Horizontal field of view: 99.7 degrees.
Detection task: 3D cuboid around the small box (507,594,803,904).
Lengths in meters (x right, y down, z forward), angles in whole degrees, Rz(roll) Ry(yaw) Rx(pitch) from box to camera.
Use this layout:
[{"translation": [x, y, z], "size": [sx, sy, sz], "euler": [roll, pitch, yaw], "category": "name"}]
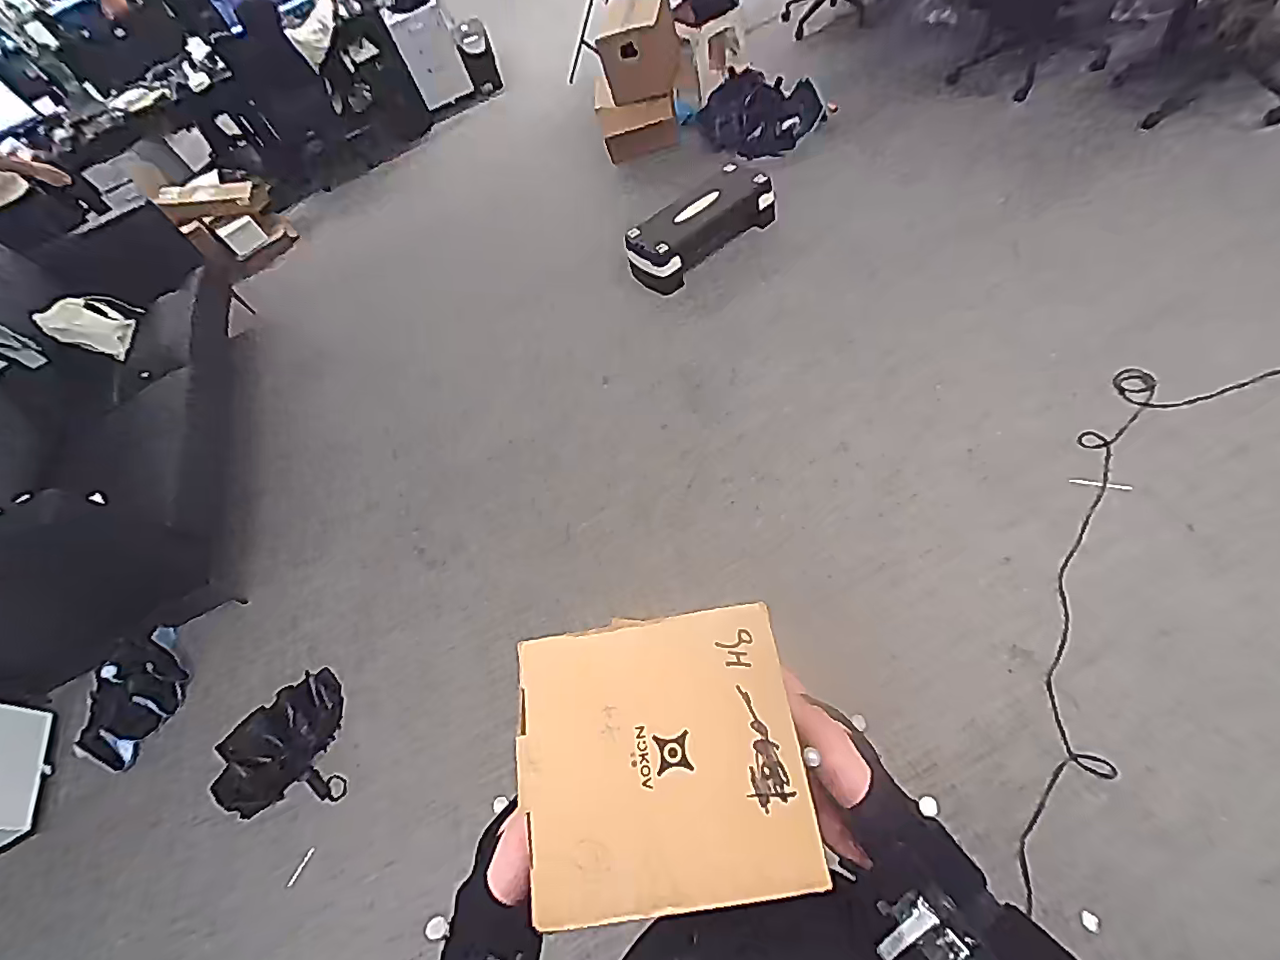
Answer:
[{"translation": [0.011, 0.194, 0.417], "size": [0.179, 0.176, 0.168], "euler": [-9, 68, 4], "category": "small box"}]
